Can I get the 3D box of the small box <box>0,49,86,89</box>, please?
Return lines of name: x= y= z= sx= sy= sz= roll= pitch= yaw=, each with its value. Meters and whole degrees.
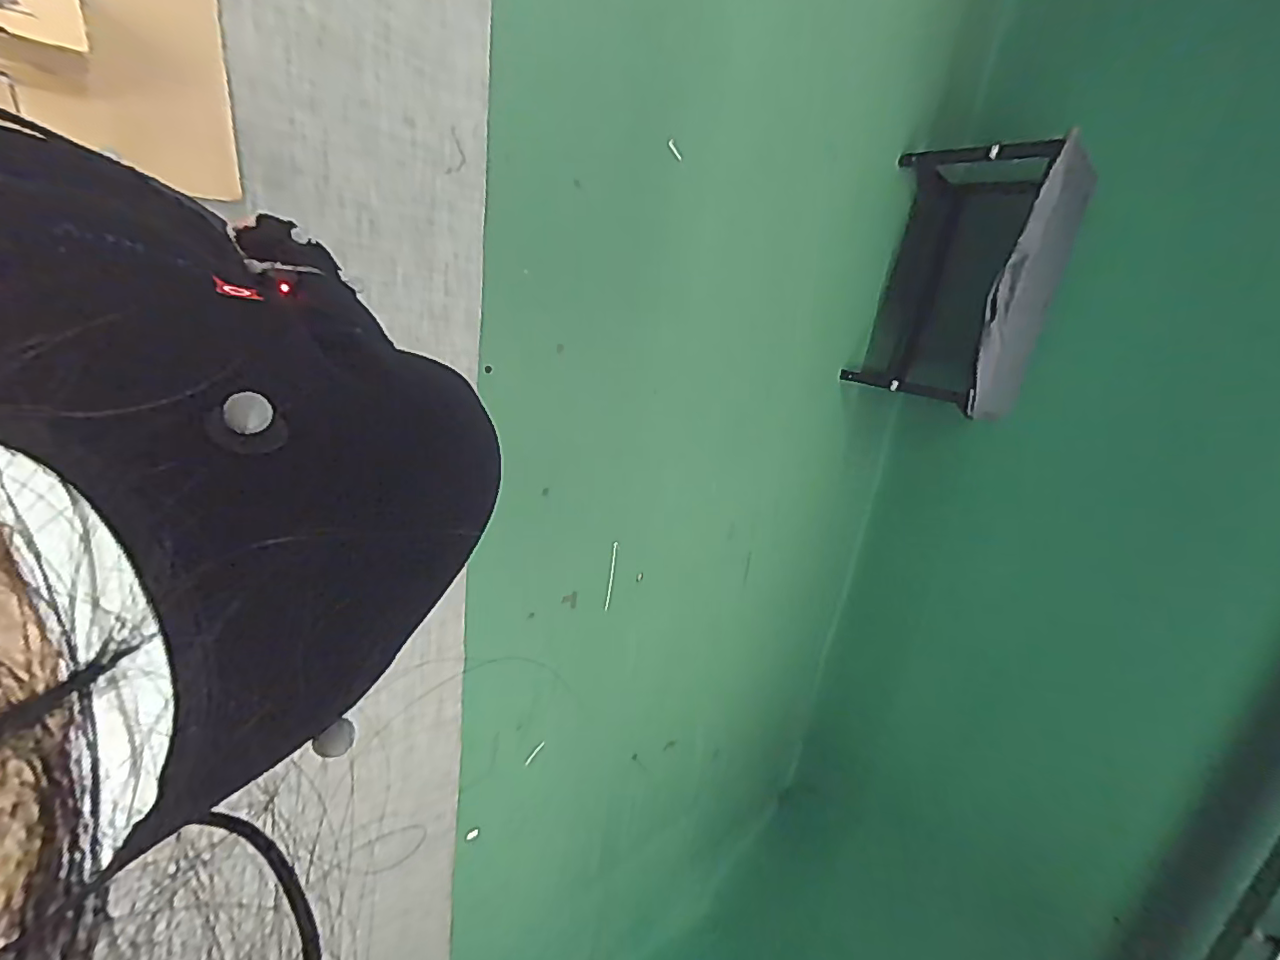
small box: x=-0.962 y=-0.716 z=0.803 sx=0.168 sy=0.176 sz=0.179 roll=-14 pitch=118 yaw=-42

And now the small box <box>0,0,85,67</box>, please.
small box: x=-0.848 y=-0.668 z=0.694 sx=0.168 sy=0.176 sz=0.179 roll=-14 pitch=118 yaw=-42
